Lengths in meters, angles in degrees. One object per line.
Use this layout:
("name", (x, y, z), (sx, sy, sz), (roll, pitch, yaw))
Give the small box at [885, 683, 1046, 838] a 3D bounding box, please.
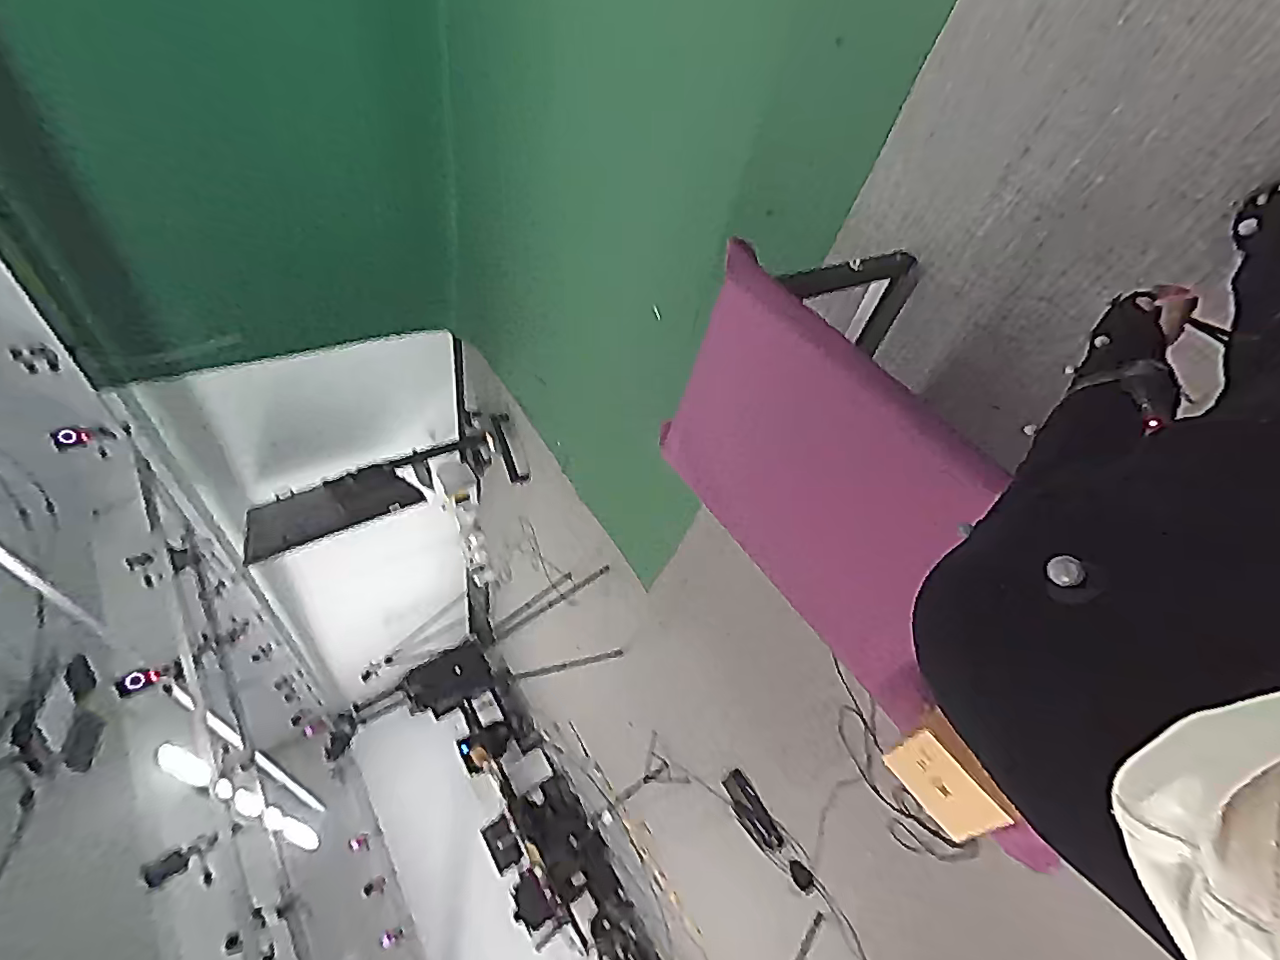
("small box", (0.614, 0.522, 1.017), (0.179, 0.176, 0.168), (49, 144, 29))
